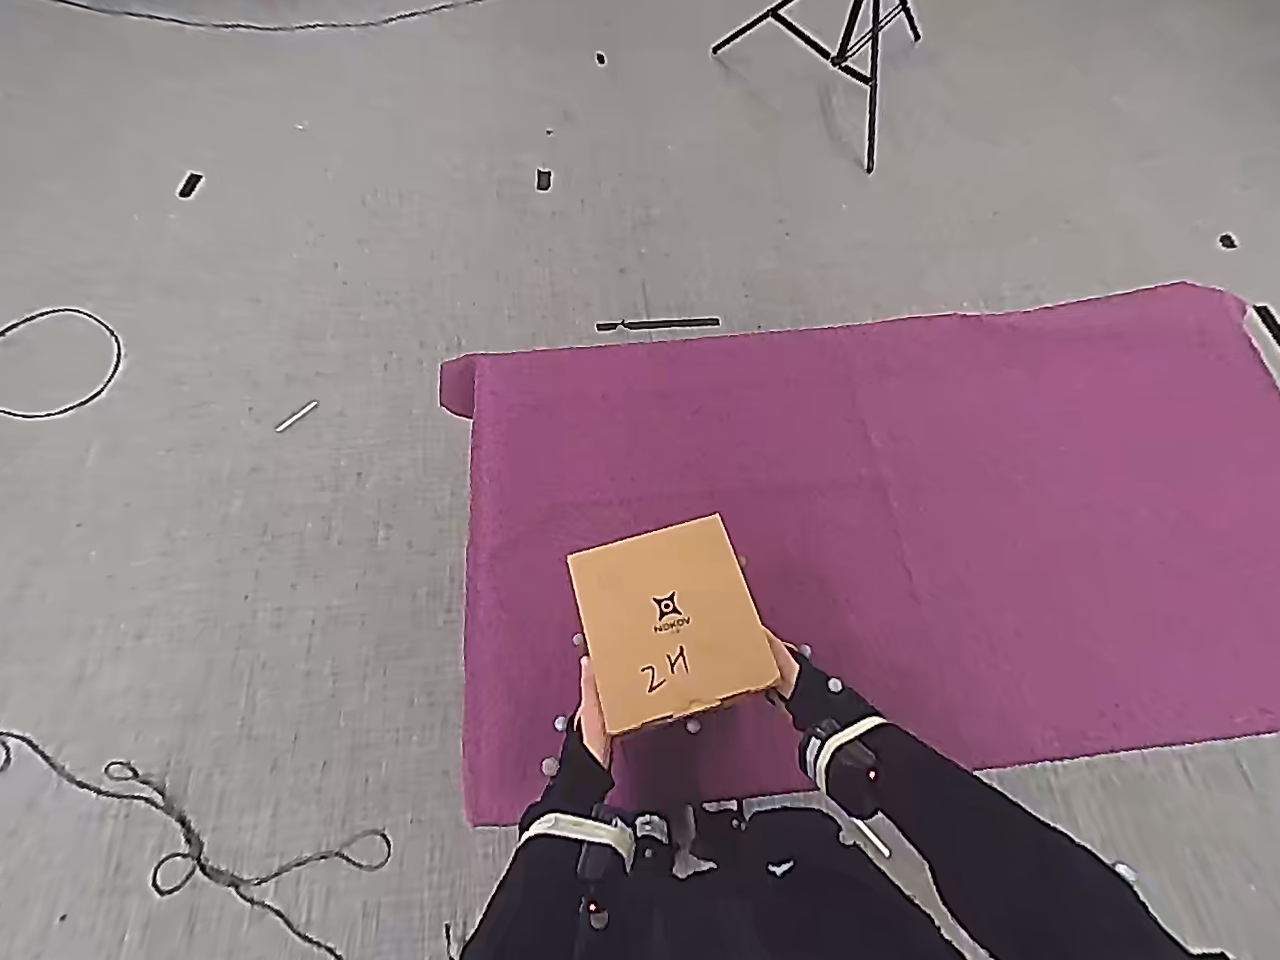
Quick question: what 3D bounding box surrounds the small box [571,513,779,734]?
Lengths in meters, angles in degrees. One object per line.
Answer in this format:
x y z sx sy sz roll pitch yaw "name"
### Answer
0.030 0.163 0.590 0.168 0.176 0.179 -15 64 -4 "small box"
